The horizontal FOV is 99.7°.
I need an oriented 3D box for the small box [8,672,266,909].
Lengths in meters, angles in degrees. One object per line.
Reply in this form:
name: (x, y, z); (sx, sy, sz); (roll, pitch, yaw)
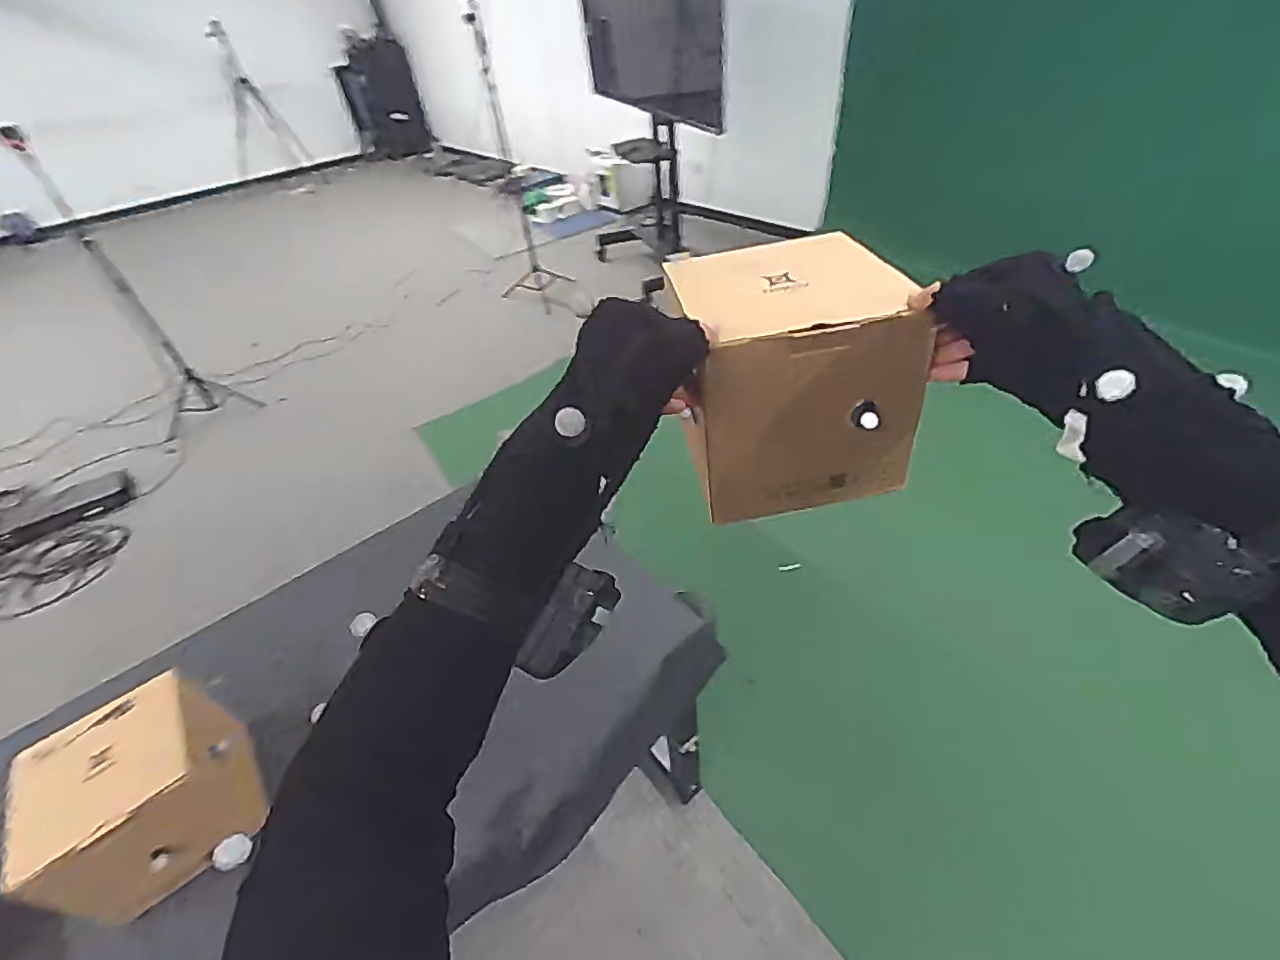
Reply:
small box: (-0.602, 0.384, 0.667); (0.168, 0.176, 0.179); (-32, 48, -25)

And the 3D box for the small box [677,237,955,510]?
small box: (0.132, -0.089, 0.469); (0.168, 0.176, 0.179); (-9, 38, 0)
